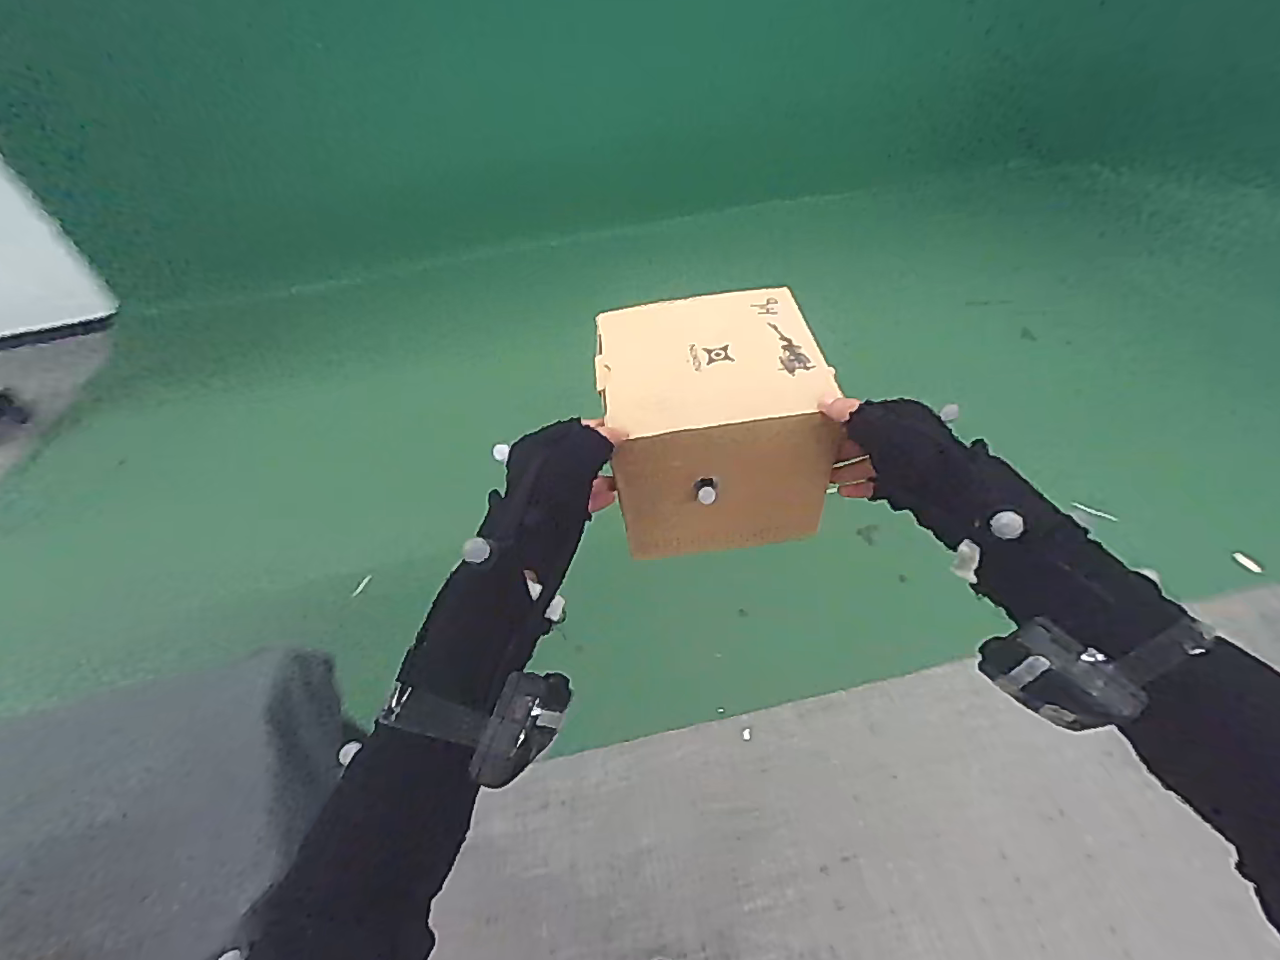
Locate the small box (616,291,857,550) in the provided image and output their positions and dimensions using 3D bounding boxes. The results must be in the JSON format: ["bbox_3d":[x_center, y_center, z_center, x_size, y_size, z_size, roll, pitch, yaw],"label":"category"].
[{"bbox_3d":[0.077,-0.049,0.505,0.179,0.176,0.168,-7,50,2],"label":"small box"}]
